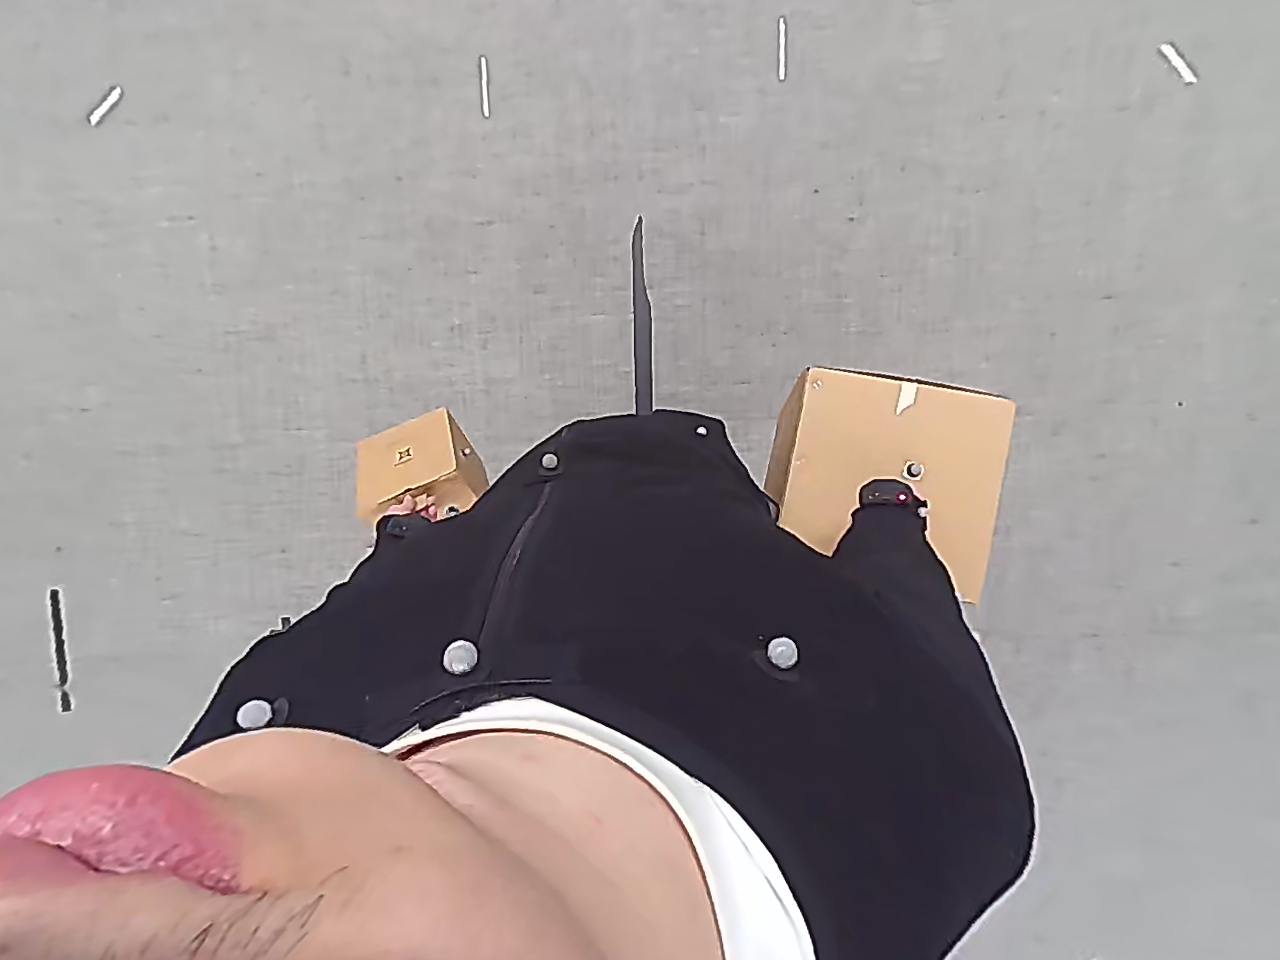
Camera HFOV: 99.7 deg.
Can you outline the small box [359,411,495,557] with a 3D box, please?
[{"bbox_3d":[-0.374,0.014,0.964,0.168,0.179,0.176,-23,139,-5],"label":"small box"}]
